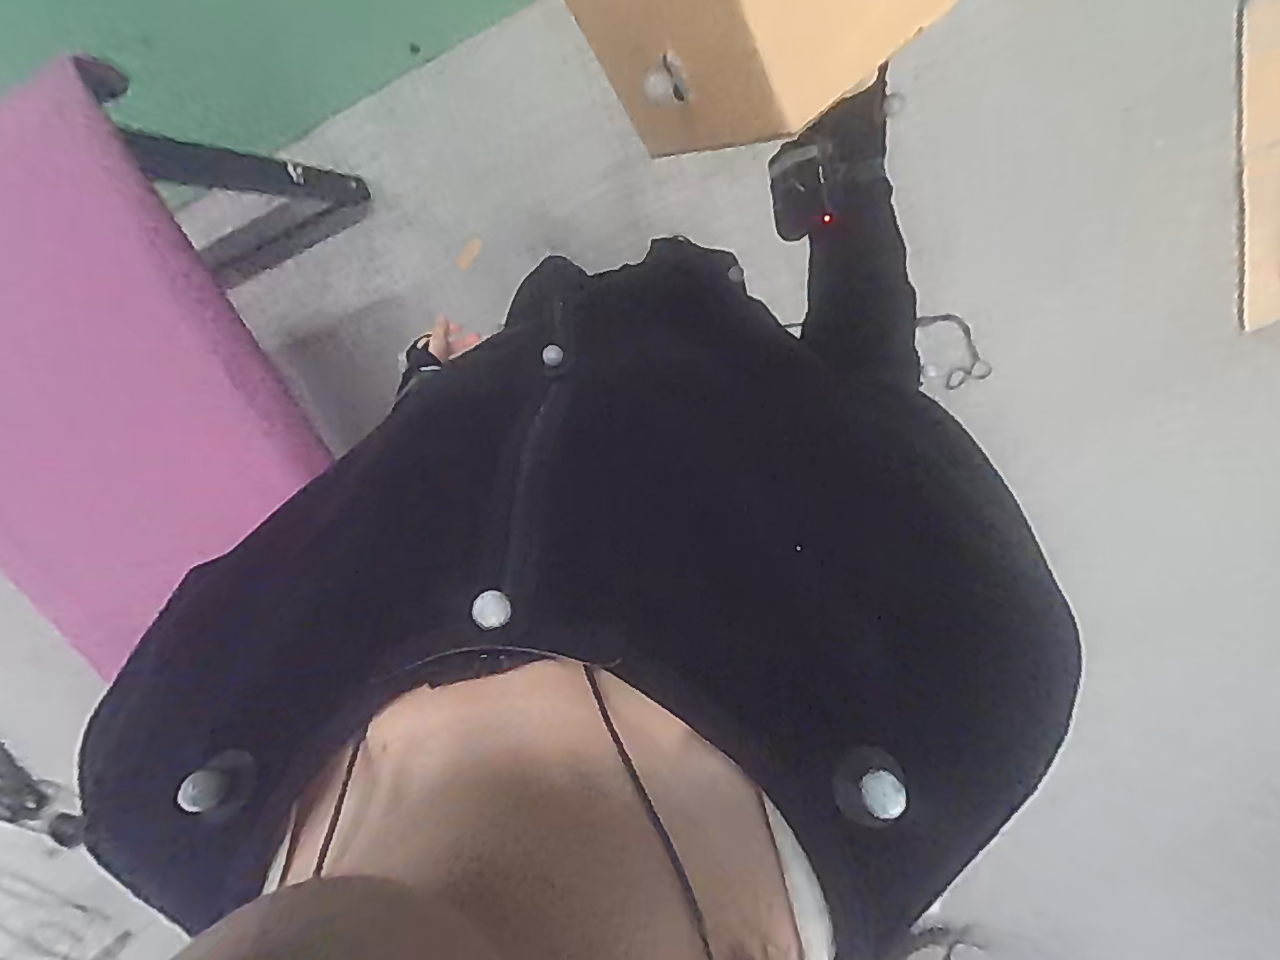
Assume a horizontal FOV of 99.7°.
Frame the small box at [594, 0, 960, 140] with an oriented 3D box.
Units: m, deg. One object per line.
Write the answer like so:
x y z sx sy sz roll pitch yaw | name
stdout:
0.064 -0.290 0.243 0.168 0.179 0.176 -38 124 0 | small box
